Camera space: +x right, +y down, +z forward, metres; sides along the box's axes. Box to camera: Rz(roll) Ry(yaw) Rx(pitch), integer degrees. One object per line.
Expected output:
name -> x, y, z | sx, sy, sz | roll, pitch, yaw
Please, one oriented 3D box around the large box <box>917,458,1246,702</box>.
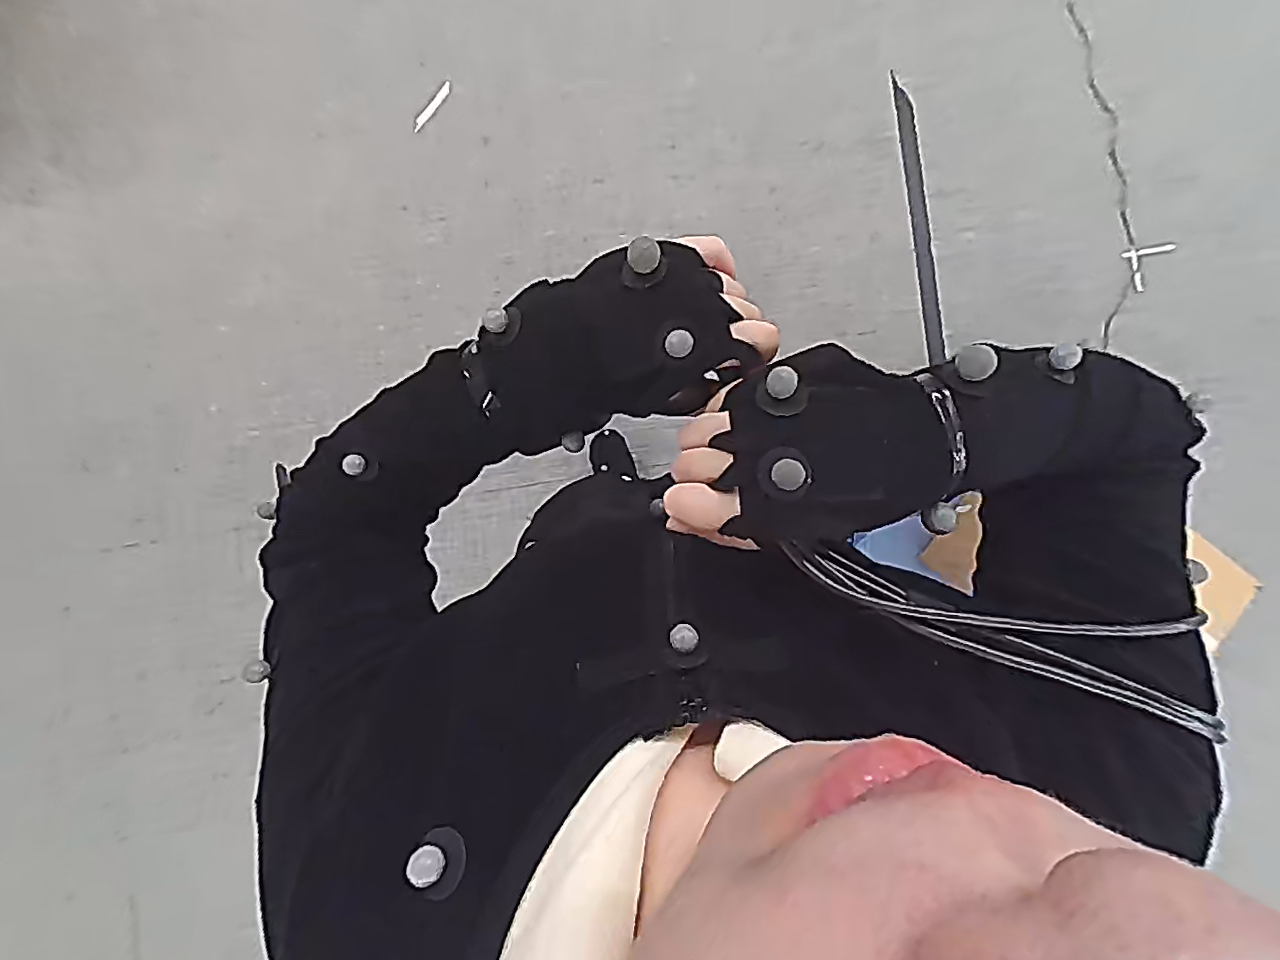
large box -> 0.924, 0.193, 1.189 | 0.408, 0.320, 0.320 | 38, 90, -2
